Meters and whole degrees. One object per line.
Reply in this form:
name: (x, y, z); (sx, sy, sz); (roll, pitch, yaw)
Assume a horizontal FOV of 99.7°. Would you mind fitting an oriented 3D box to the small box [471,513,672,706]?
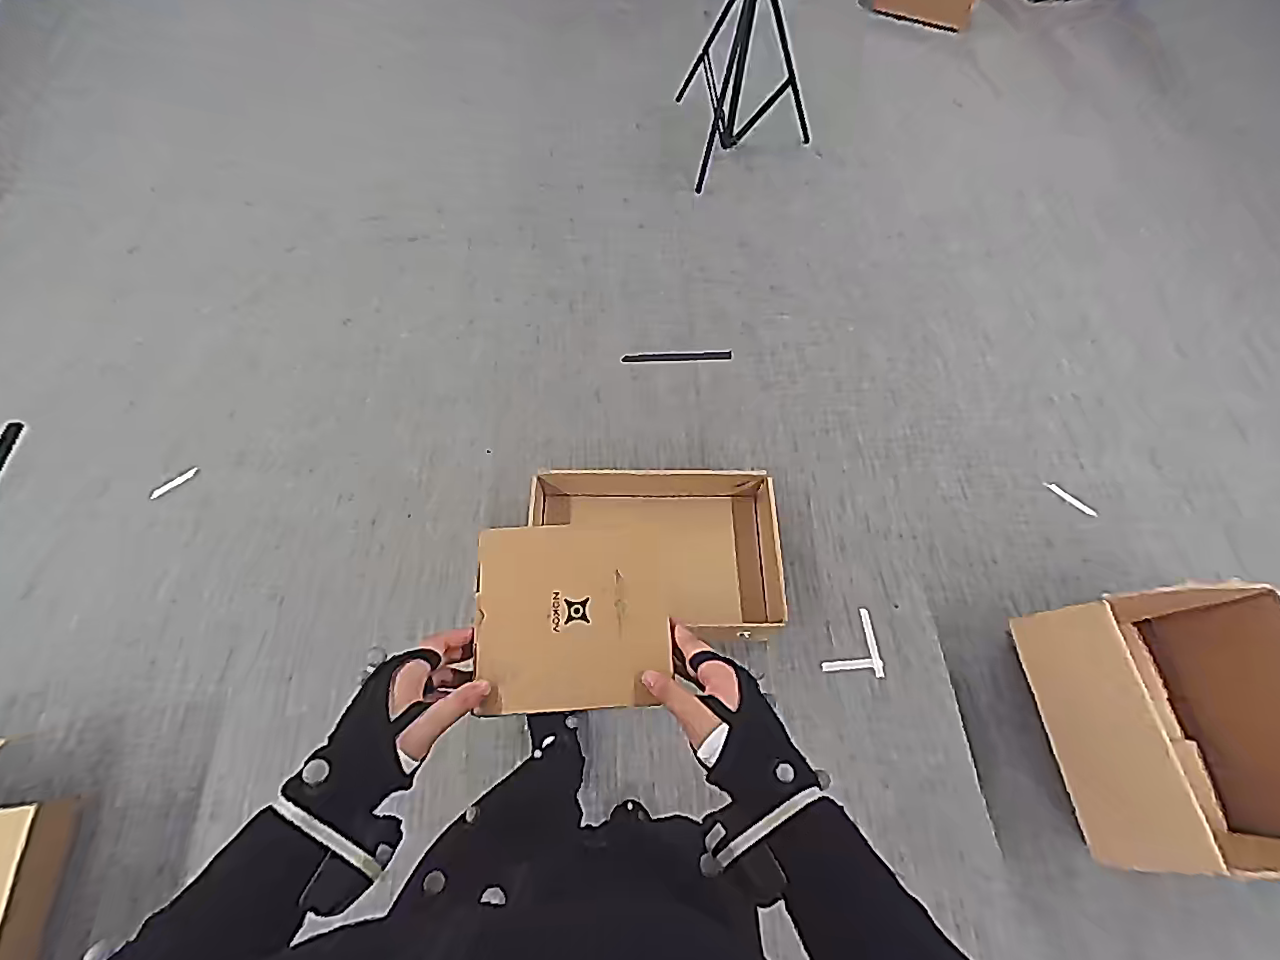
small box: (-0.066, 0.142, 0.566); (0.179, 0.176, 0.168); (-3, 68, -5)
